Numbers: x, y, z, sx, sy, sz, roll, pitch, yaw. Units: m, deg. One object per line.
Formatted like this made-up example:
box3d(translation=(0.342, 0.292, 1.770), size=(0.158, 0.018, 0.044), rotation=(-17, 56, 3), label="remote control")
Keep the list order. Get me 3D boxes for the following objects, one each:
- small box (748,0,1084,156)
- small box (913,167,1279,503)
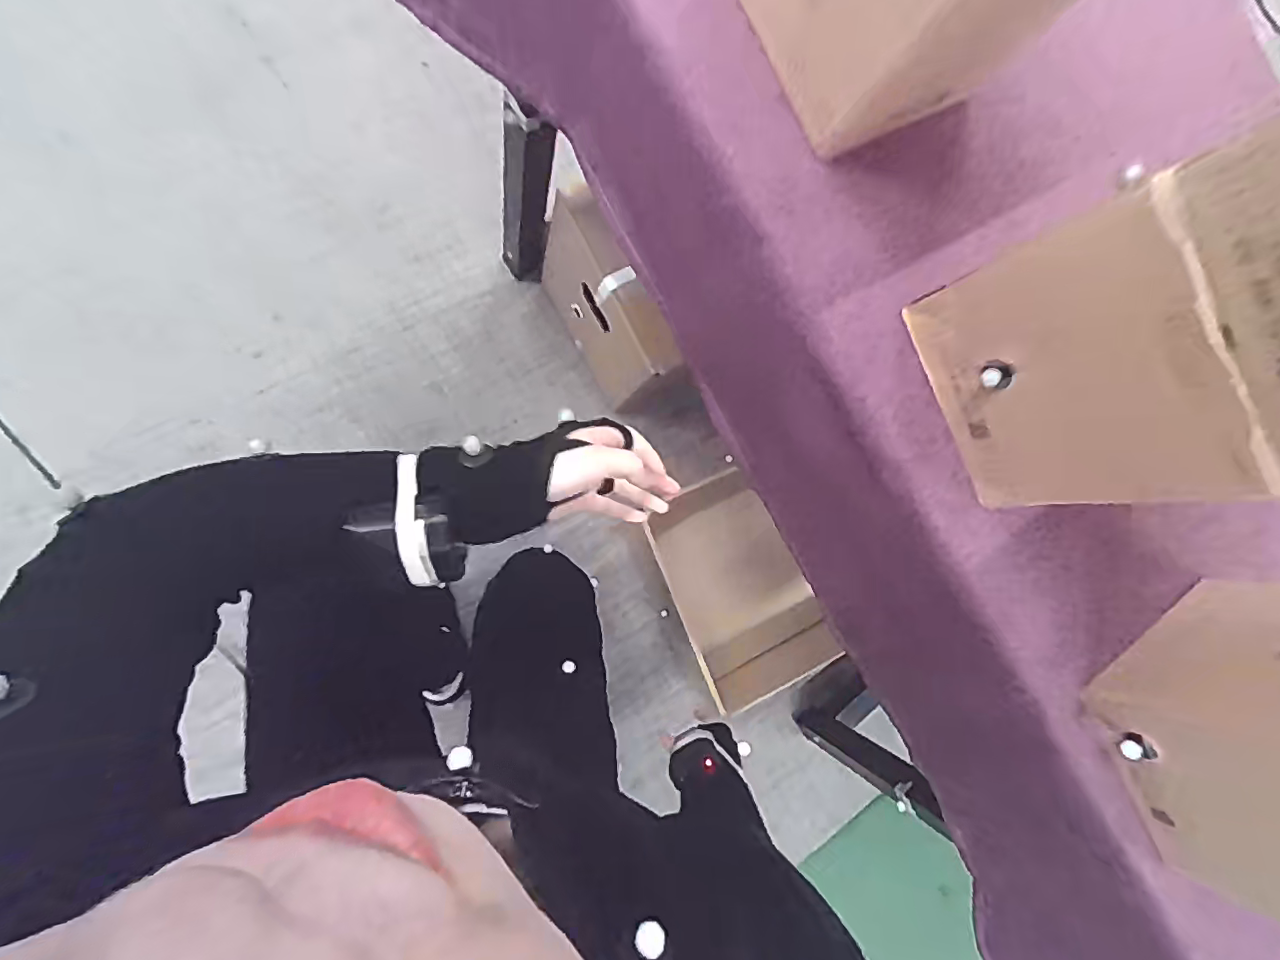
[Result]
box3d(translation=(0.182, -0.352, 0.334), size=(0.168, 0.176, 0.179), rotation=(-30, 94, -13), label="small box")
box3d(translation=(0.329, -0.093, 0.360), size=(0.179, 0.176, 0.168), rotation=(-25, 93, -14), label="small box")
